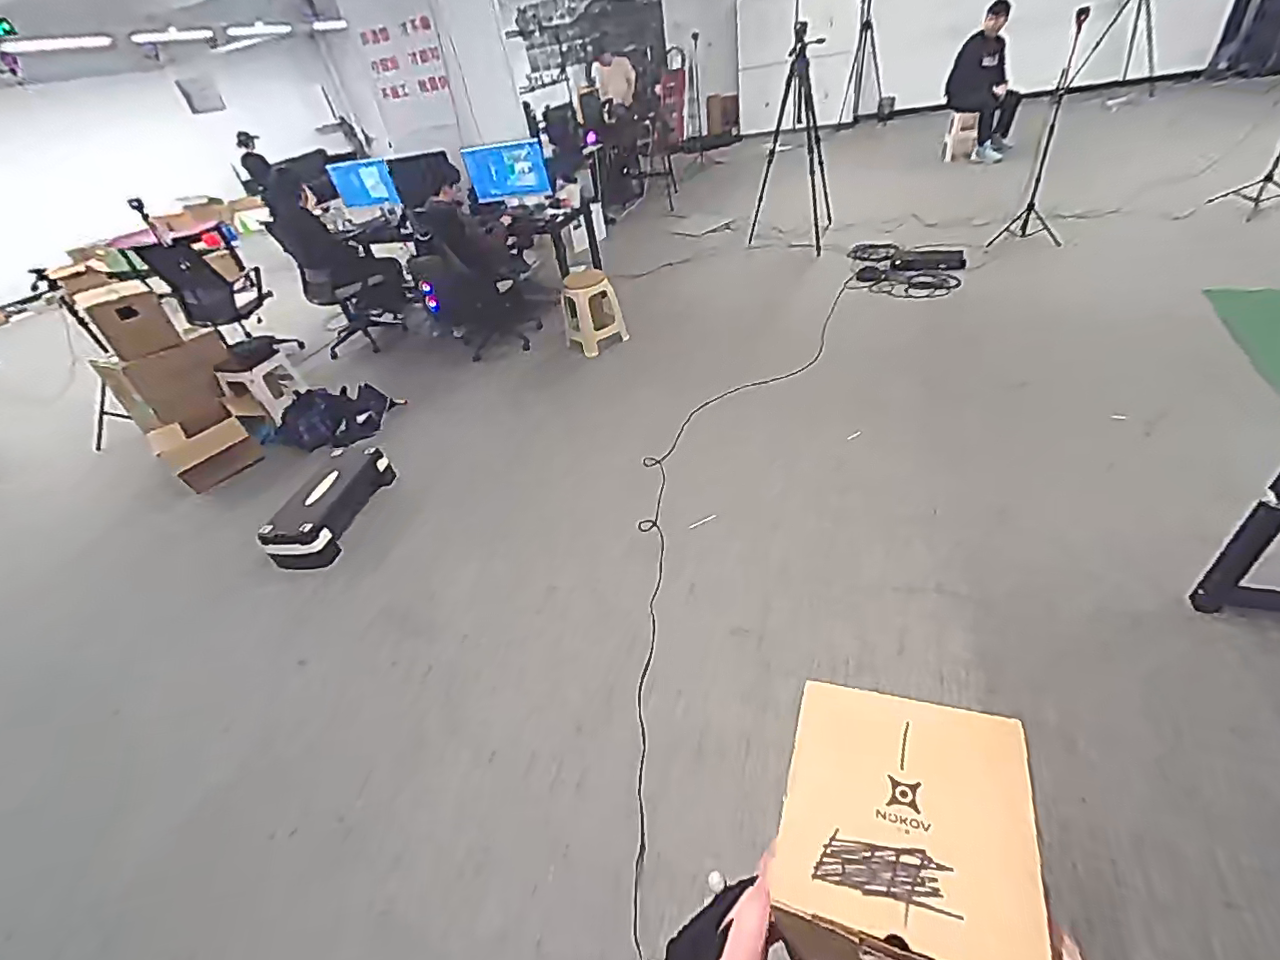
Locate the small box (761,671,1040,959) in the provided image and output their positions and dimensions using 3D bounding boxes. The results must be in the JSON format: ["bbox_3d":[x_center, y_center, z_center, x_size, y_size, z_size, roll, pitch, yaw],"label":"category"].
[{"bbox_3d":[0.208,0.293,0.441,0.168,0.176,0.179,3,41,27],"label":"small box"}]
